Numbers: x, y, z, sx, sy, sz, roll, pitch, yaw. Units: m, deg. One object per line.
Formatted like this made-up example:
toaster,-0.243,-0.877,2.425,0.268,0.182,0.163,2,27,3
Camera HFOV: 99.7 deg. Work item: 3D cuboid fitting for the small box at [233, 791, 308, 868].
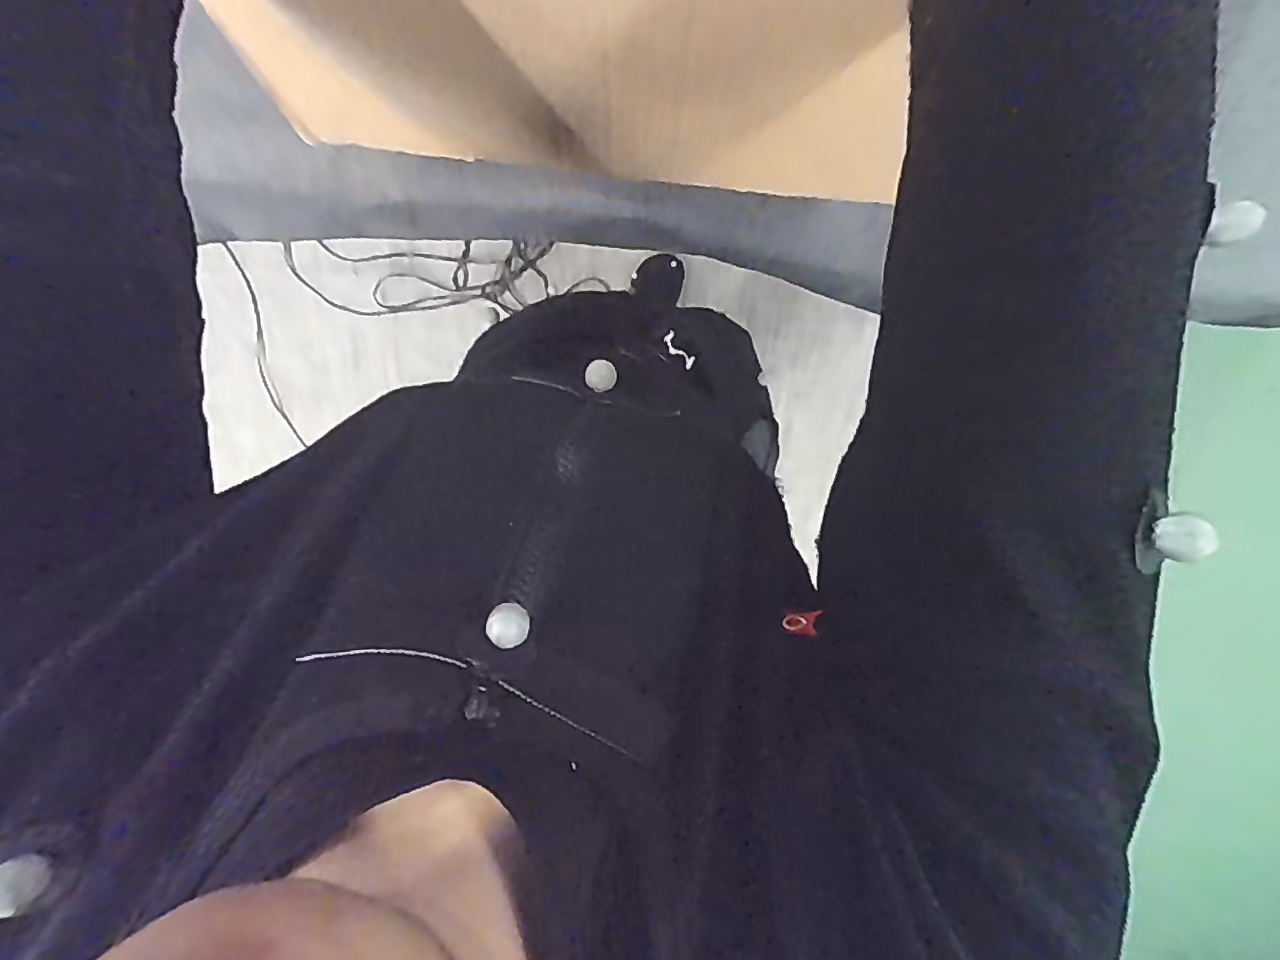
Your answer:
small box,-1.383,1.311,2.036,0.168,0.176,0.179,13,116,-1
